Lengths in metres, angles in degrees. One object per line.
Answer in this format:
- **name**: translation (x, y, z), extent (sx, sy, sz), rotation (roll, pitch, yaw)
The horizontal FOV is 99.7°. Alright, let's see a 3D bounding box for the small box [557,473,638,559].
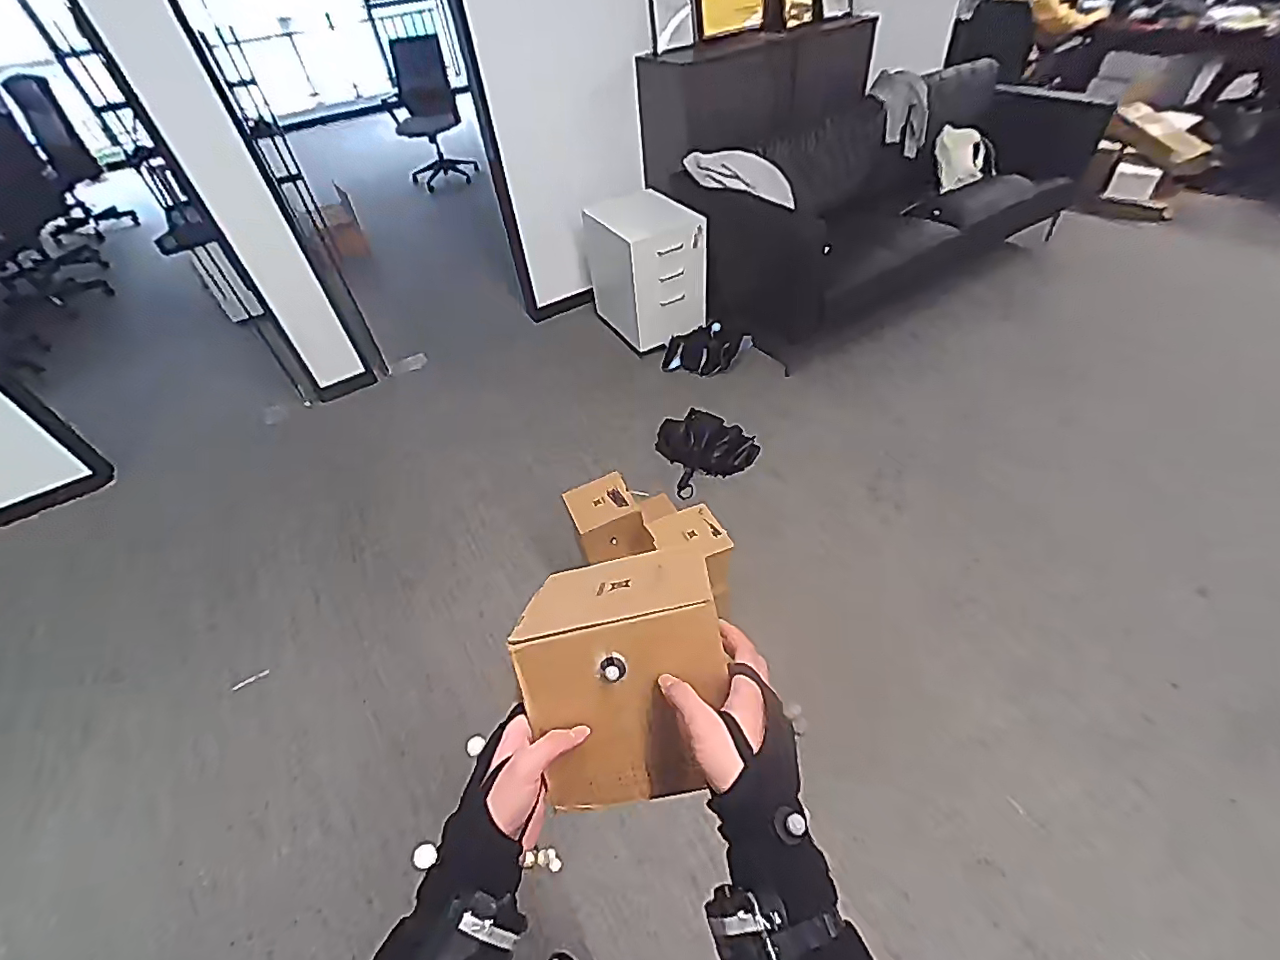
- **small box**: translation (-0.114, 0.117, 1.519), extent (0.179, 0.176, 0.168), rotation (-22, 47, -12)

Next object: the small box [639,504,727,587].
- **small box**: translation (0.113, 0.199, 1.413), extent (0.179, 0.176, 0.168), rotation (-19, 46, -15)

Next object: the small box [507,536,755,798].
- **small box**: translation (-0.003, 0.168, 0.515), extent (0.179, 0.176, 0.168), rotation (-12, 9, 3)
